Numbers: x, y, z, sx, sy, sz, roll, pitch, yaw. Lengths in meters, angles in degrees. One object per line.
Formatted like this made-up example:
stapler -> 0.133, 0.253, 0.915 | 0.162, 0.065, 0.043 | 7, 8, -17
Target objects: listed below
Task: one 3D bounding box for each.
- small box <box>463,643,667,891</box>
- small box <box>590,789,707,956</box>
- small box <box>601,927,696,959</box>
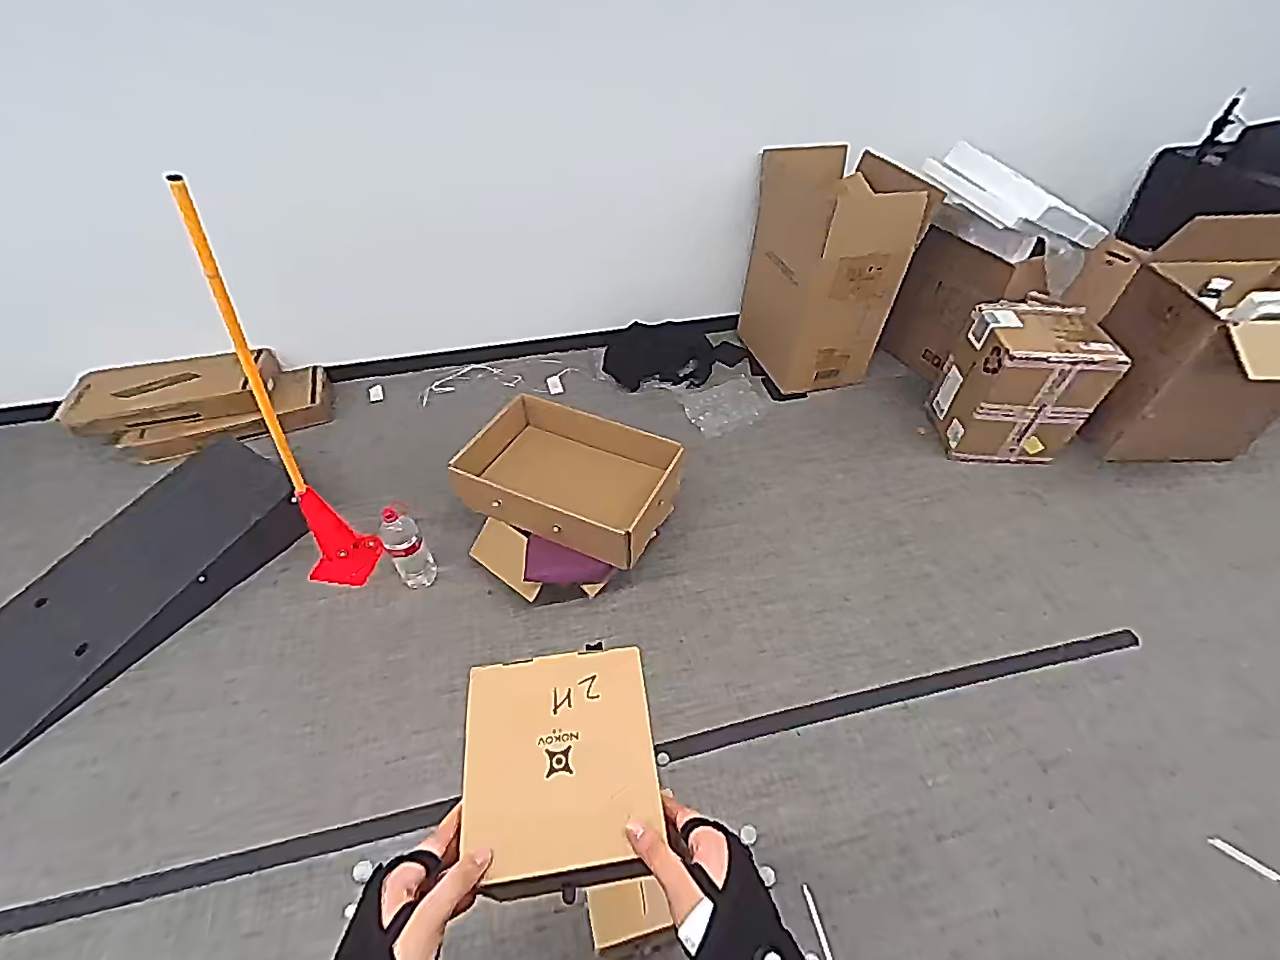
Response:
small box -> -0.068, 0.288, 0.536 | 0.168, 0.176, 0.179 | -7, 49, -6
small box -> 0.000, 0.649, 0.895 | 0.168, 0.176, 0.179 | -11, 47, -10
small box -> -0.003, 0.765, 1.012 | 0.168, 0.176, 0.179 | -11, 46, -10
